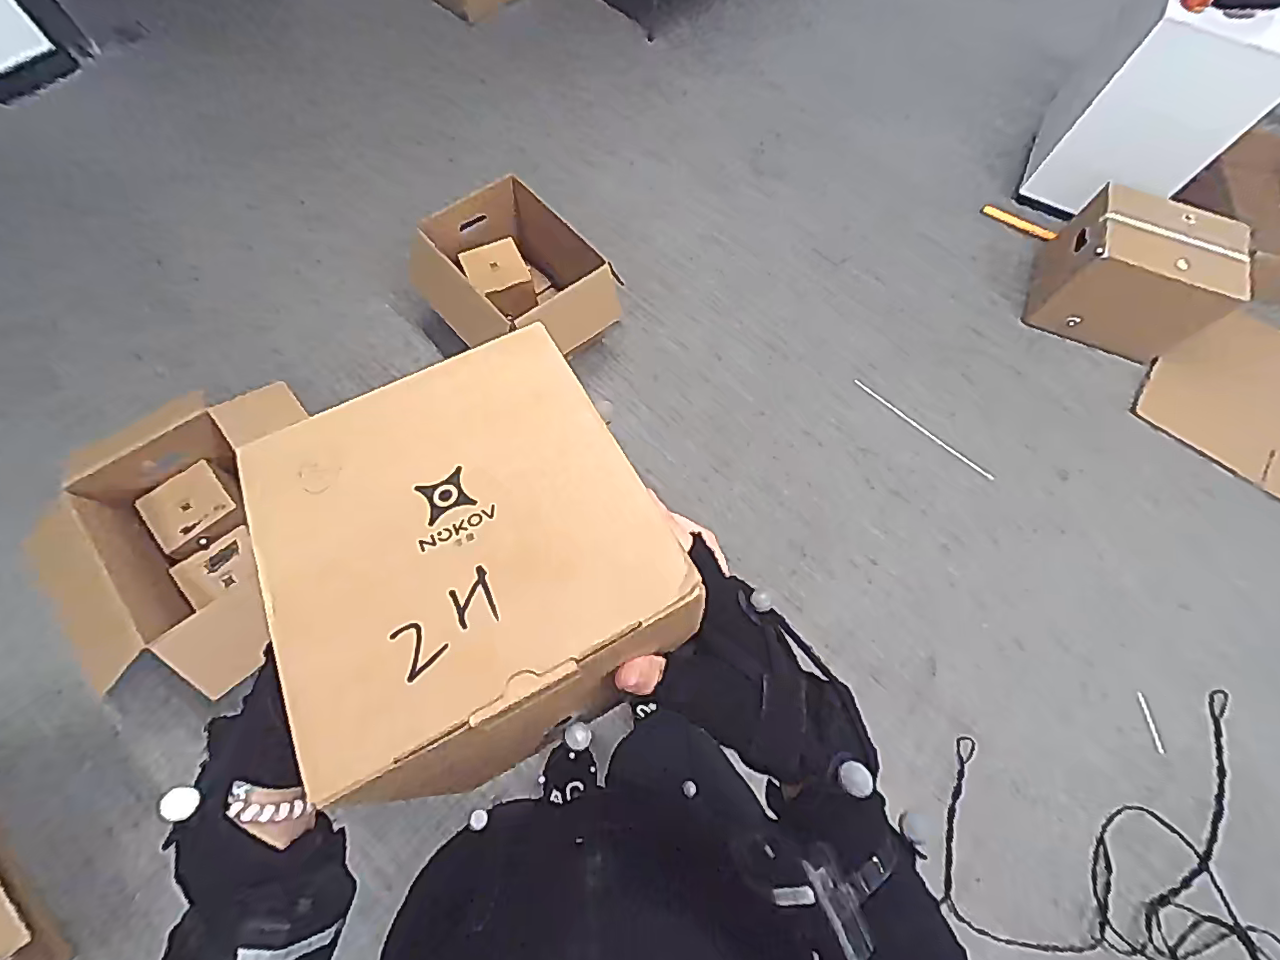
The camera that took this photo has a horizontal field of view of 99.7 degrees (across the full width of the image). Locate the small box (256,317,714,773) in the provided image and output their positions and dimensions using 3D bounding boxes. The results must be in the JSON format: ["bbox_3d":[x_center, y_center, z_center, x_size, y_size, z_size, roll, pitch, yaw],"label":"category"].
[{"bbox_3d":[-0.076,0.047,0.316,0.168,0.176,0.179,-27,63,-11],"label":"small box"}]
